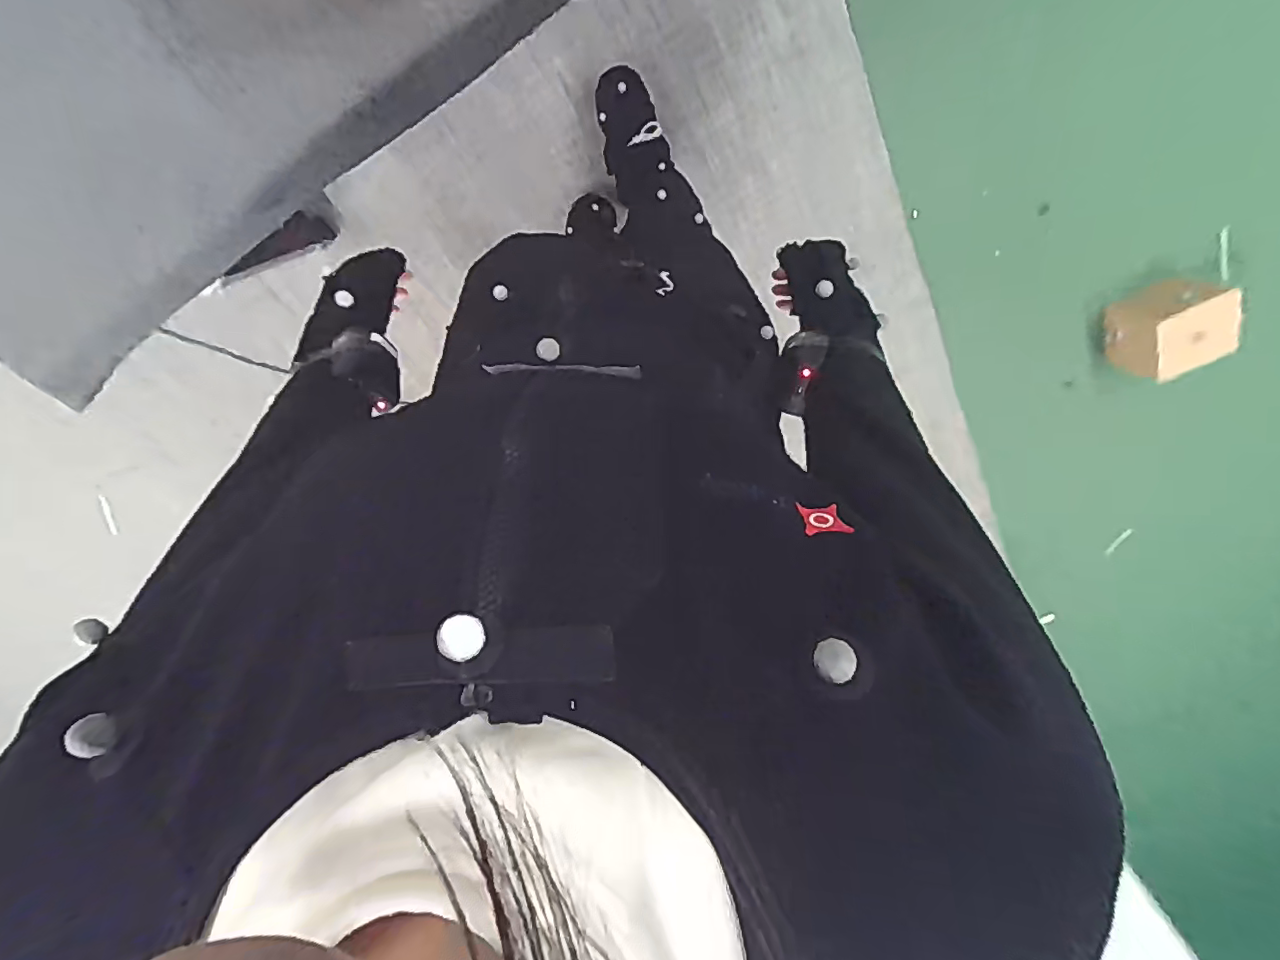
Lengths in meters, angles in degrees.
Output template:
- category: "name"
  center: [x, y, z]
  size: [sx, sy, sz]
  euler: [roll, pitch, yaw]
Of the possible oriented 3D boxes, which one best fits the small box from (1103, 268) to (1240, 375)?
- category: "small box"
  center: [1.289, -0.393, 1.322]
  size: [0.179, 0.176, 0.168]
  euler: [-26, 119, 14]
